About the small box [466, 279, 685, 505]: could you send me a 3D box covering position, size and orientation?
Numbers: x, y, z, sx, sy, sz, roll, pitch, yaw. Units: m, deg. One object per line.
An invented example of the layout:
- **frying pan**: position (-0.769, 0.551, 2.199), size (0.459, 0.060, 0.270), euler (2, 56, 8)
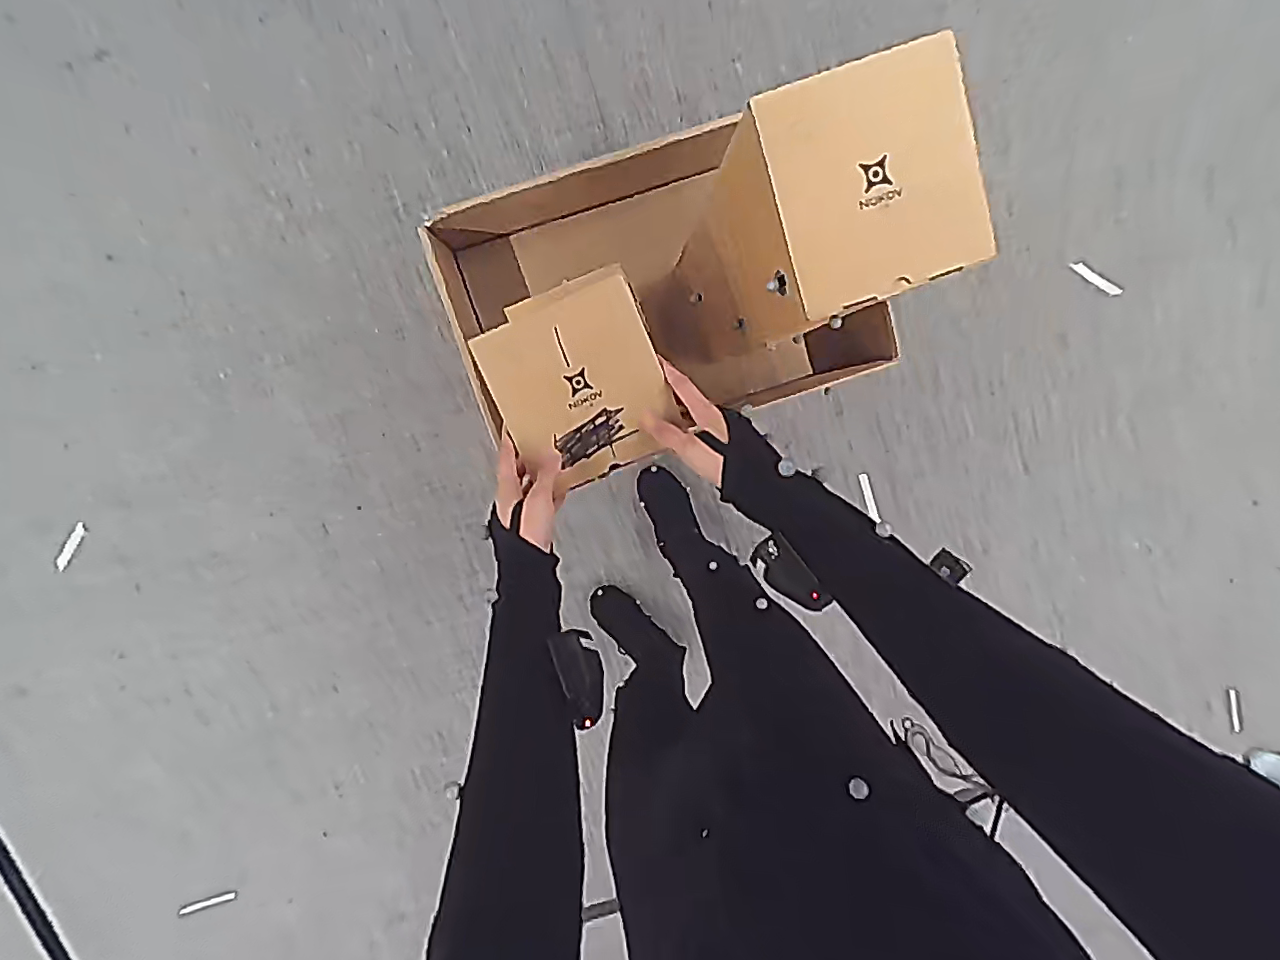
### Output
- **small box**: position (-0.061, -0.096, 0.605), size (0.168, 0.176, 0.179), euler (-24, 99, 3)

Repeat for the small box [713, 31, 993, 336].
- **small box**: position (0.178, -0.248, 0.502), size (0.168, 0.176, 0.179), euler (-19, 100, 1)
